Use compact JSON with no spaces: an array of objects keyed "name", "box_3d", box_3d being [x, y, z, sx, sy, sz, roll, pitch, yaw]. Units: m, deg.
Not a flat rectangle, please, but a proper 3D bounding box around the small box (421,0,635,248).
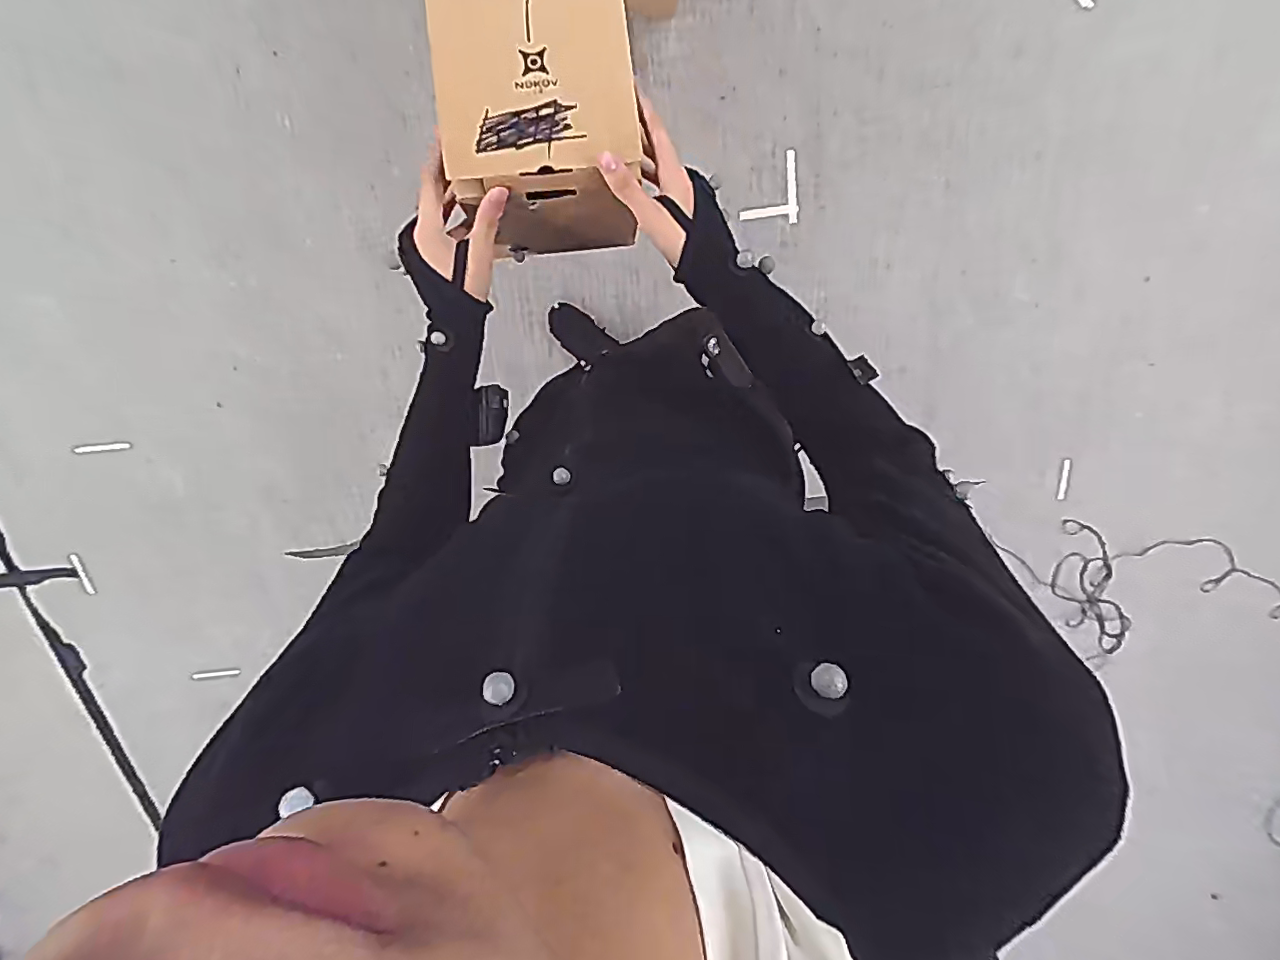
[{"name":"small box","box_3d":[-0.095,-0.343,0.531,0.168,0.176,0.179,-7,95,-3]}]
